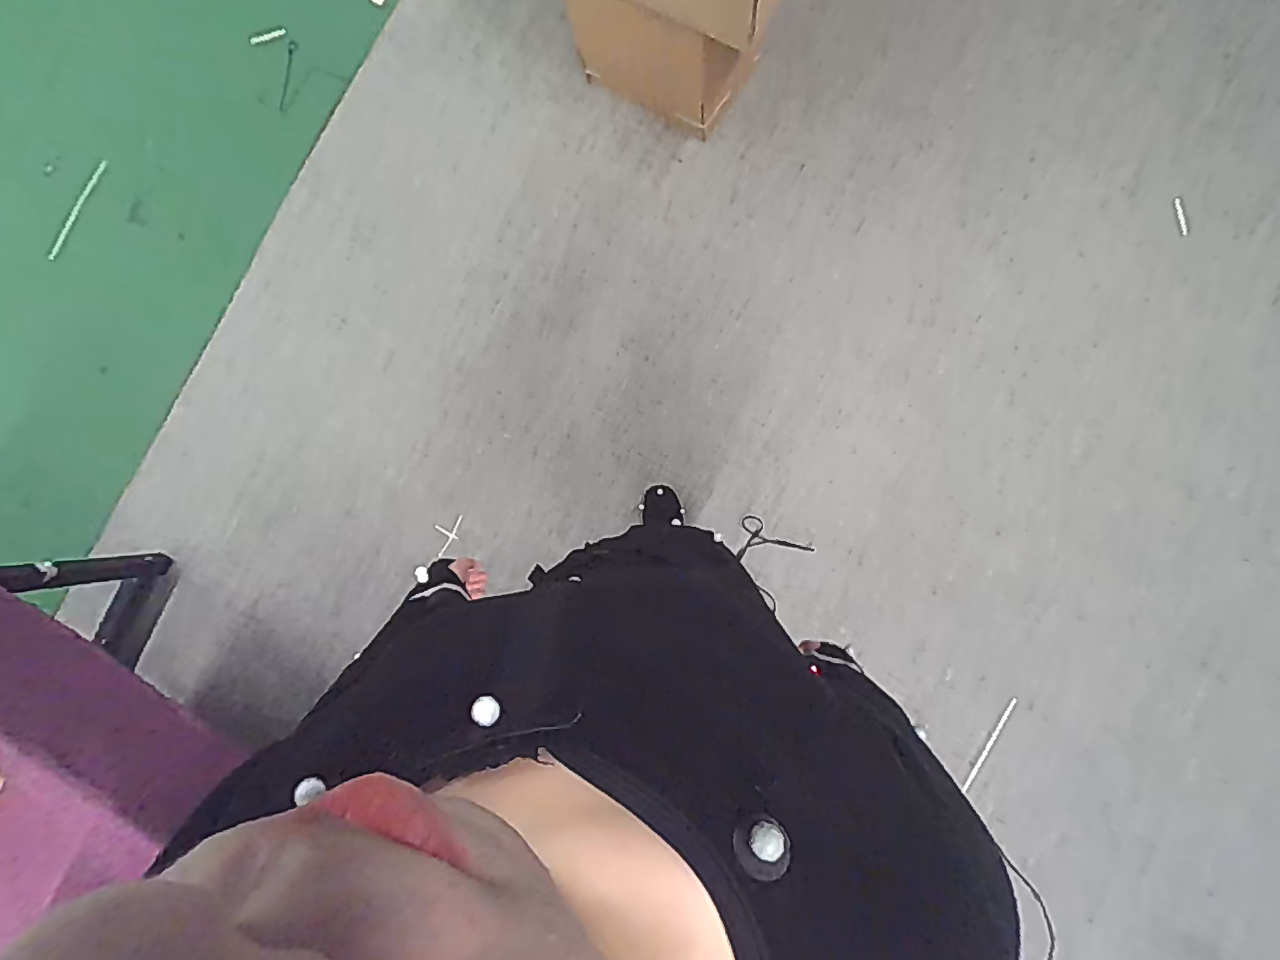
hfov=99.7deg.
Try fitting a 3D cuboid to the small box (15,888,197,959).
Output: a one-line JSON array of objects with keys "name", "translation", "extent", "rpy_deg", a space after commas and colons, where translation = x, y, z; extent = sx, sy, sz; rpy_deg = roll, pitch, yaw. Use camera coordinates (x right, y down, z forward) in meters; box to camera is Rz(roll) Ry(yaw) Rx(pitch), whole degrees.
[{"name": "small box", "translation": [-0.774, 0.727, 0.746], "extent": [0.168, 0.176, 0.179], "rpy_deg": [29, 91, 8]}]
